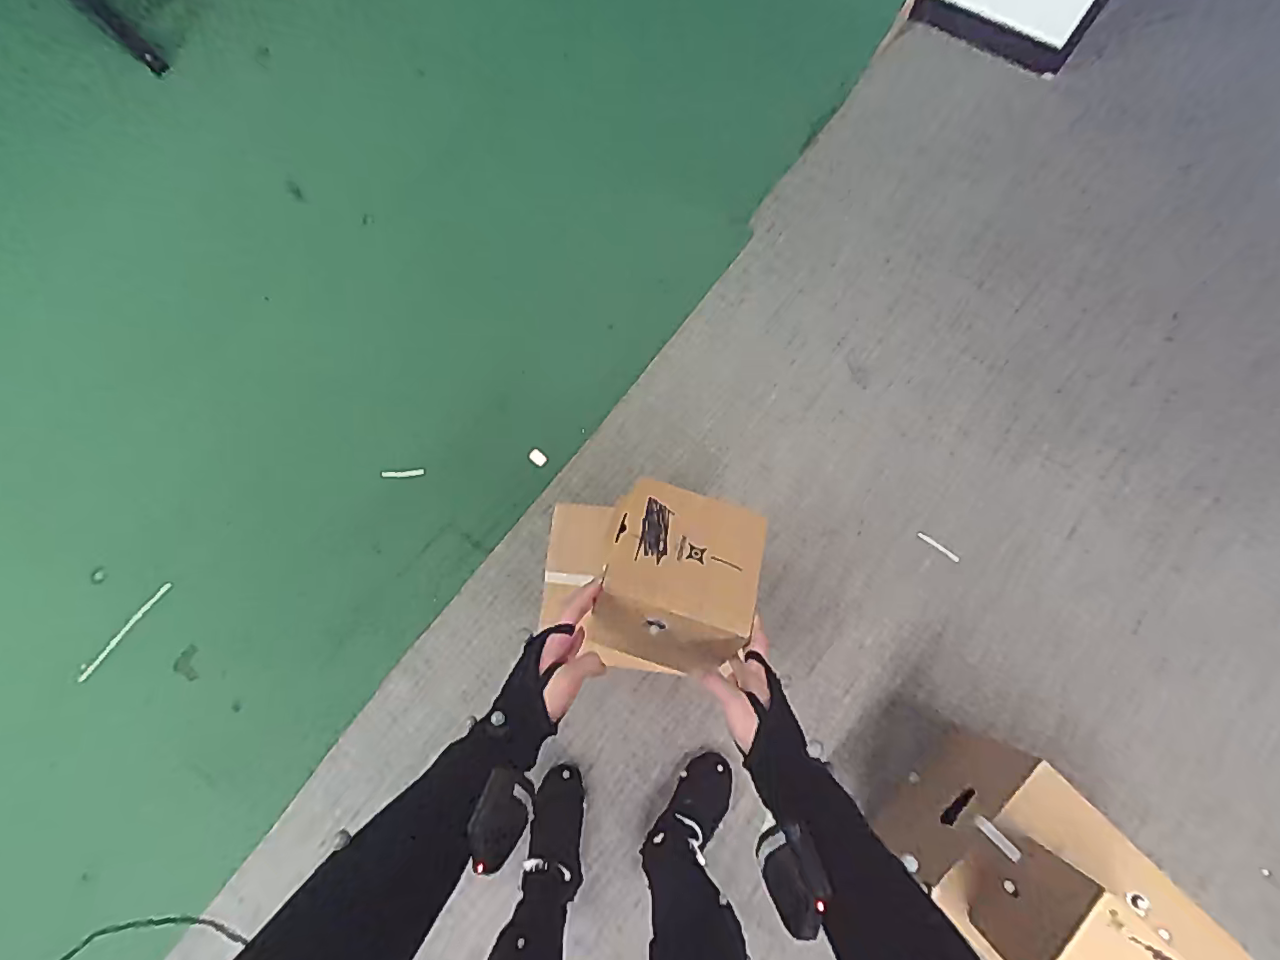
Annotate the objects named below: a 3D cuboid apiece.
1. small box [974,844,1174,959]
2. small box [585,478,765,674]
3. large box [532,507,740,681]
[{"bbox_3d":[0.640,0.700,0.803,0.168,0.176,0.179,43,84,12],"label":"small box"},{"bbox_3d":[0.039,0.130,0.695,0.179,0.176,0.168,19,54,-1],"label":"small box"},{"bbox_3d":[0.013,0.251,1.208,0.408,0.320,0.320,5,76,6],"label":"large box"}]
